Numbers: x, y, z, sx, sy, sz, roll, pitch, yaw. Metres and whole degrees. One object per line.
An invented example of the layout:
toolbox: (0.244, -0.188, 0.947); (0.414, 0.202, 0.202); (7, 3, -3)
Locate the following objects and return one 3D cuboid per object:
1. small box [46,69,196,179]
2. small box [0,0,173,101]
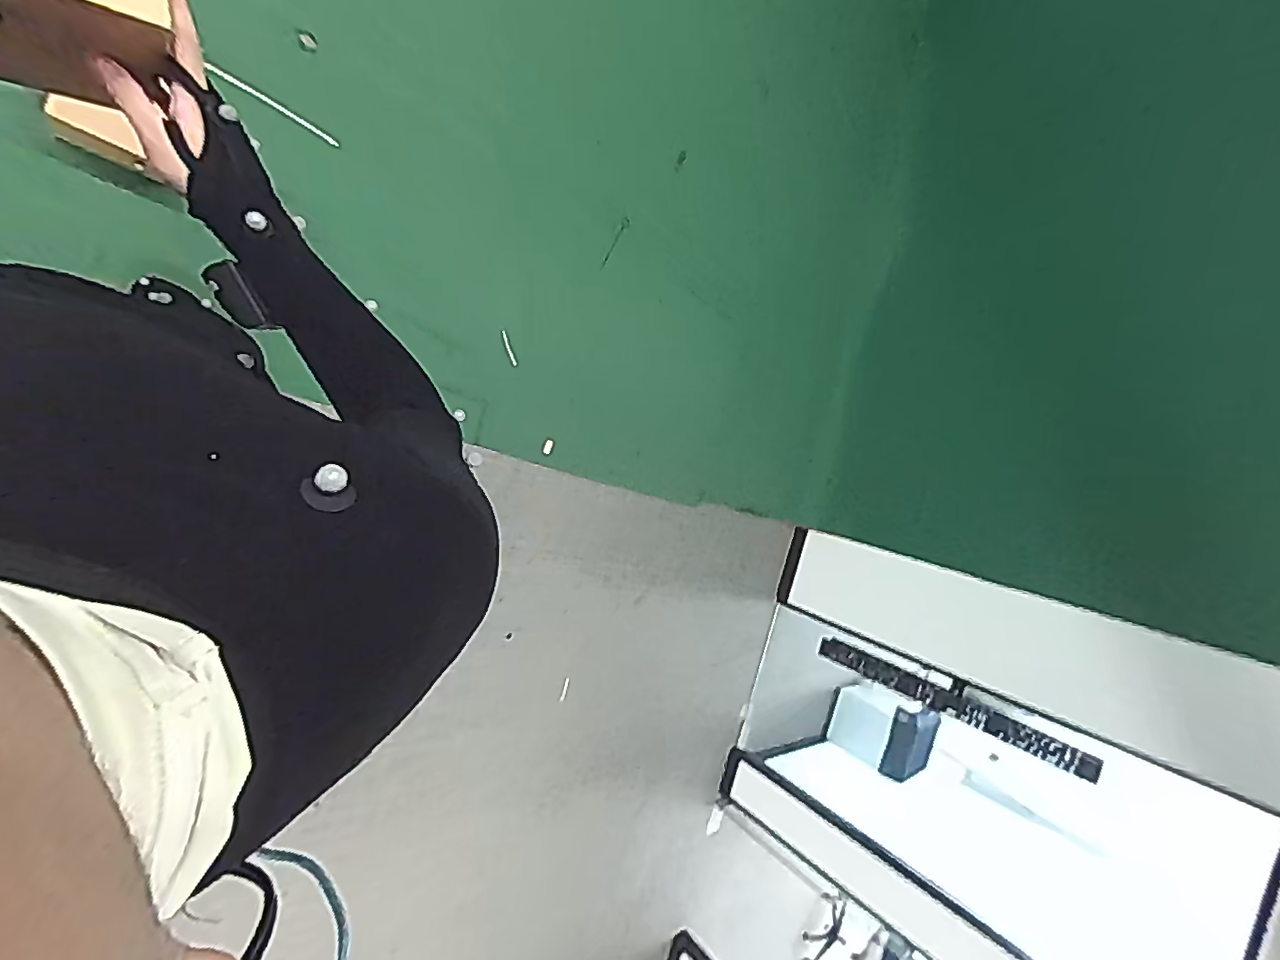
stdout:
small box: (-1.006, -0.720, 1.058); (0.179, 0.176, 0.168); (17, 90, -43)
small box: (-0.456, -0.402, 0.373); (0.179, 0.176, 0.168); (-10, 101, -44)
